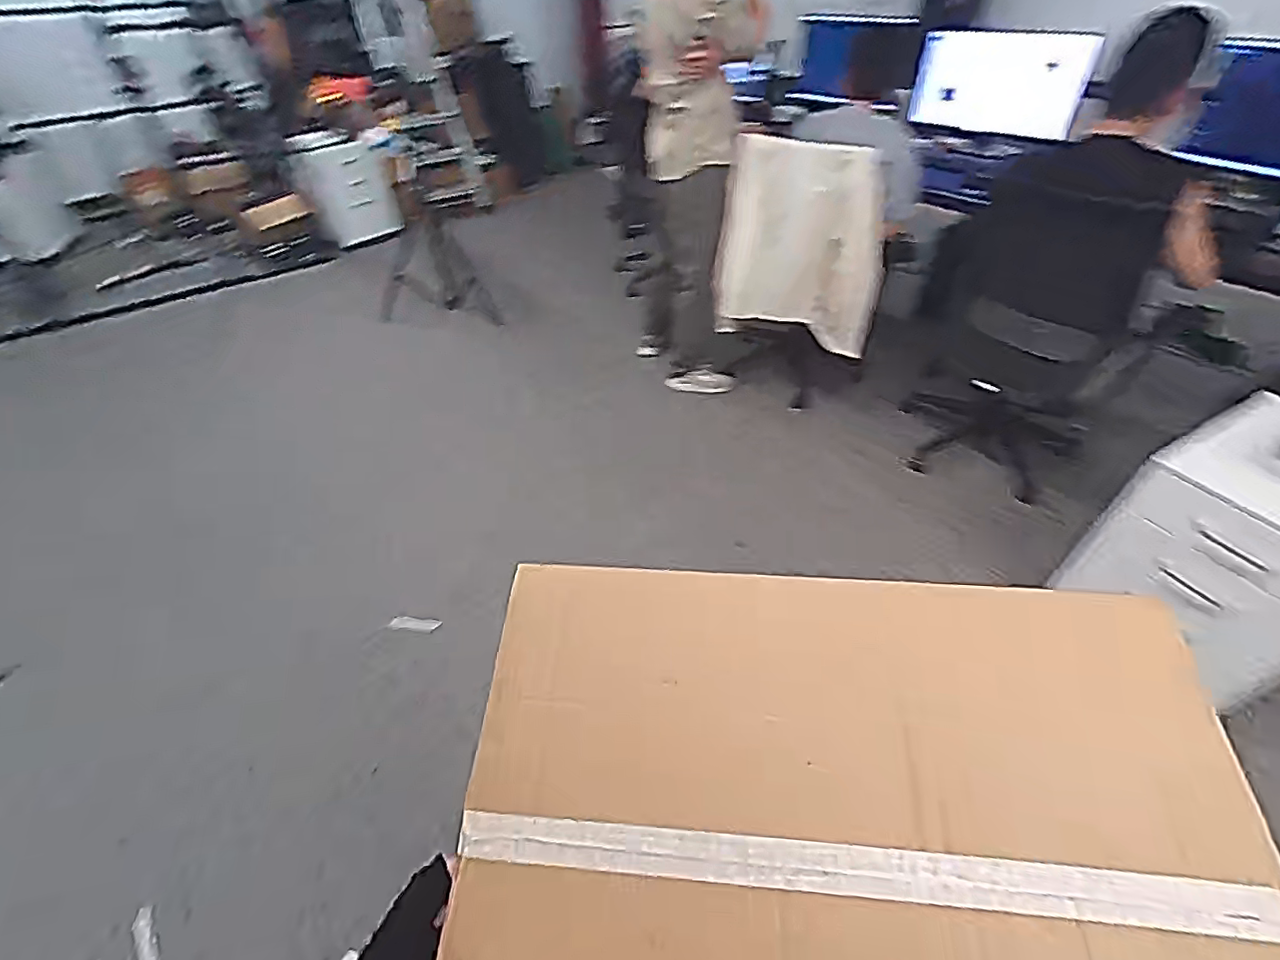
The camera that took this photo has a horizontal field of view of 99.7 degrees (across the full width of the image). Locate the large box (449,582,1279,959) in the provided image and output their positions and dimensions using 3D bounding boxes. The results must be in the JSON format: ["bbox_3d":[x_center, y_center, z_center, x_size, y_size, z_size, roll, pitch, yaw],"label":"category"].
[{"bbox_3d":[0.110,0.281,0.409,0.408,0.320,0.320,1,59,5],"label":"large box"}]
